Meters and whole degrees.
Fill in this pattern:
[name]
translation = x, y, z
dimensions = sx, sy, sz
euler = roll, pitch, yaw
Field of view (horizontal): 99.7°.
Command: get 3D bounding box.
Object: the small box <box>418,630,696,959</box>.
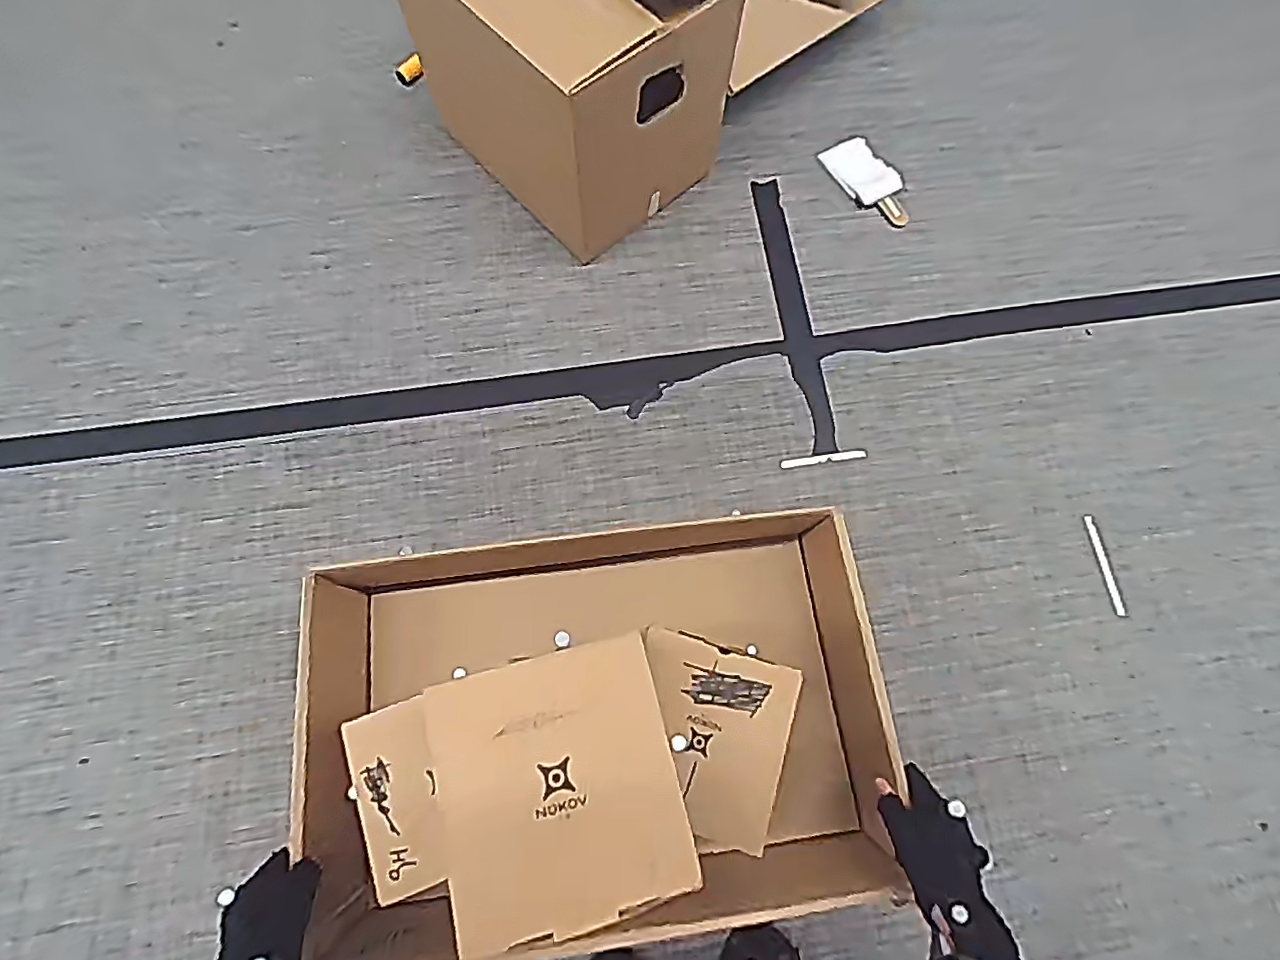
[small box]
translation = -0.062, 0.231, 0.448
dimensions = 0.168, 0.176, 0.179
euler = -14, 73, -7
